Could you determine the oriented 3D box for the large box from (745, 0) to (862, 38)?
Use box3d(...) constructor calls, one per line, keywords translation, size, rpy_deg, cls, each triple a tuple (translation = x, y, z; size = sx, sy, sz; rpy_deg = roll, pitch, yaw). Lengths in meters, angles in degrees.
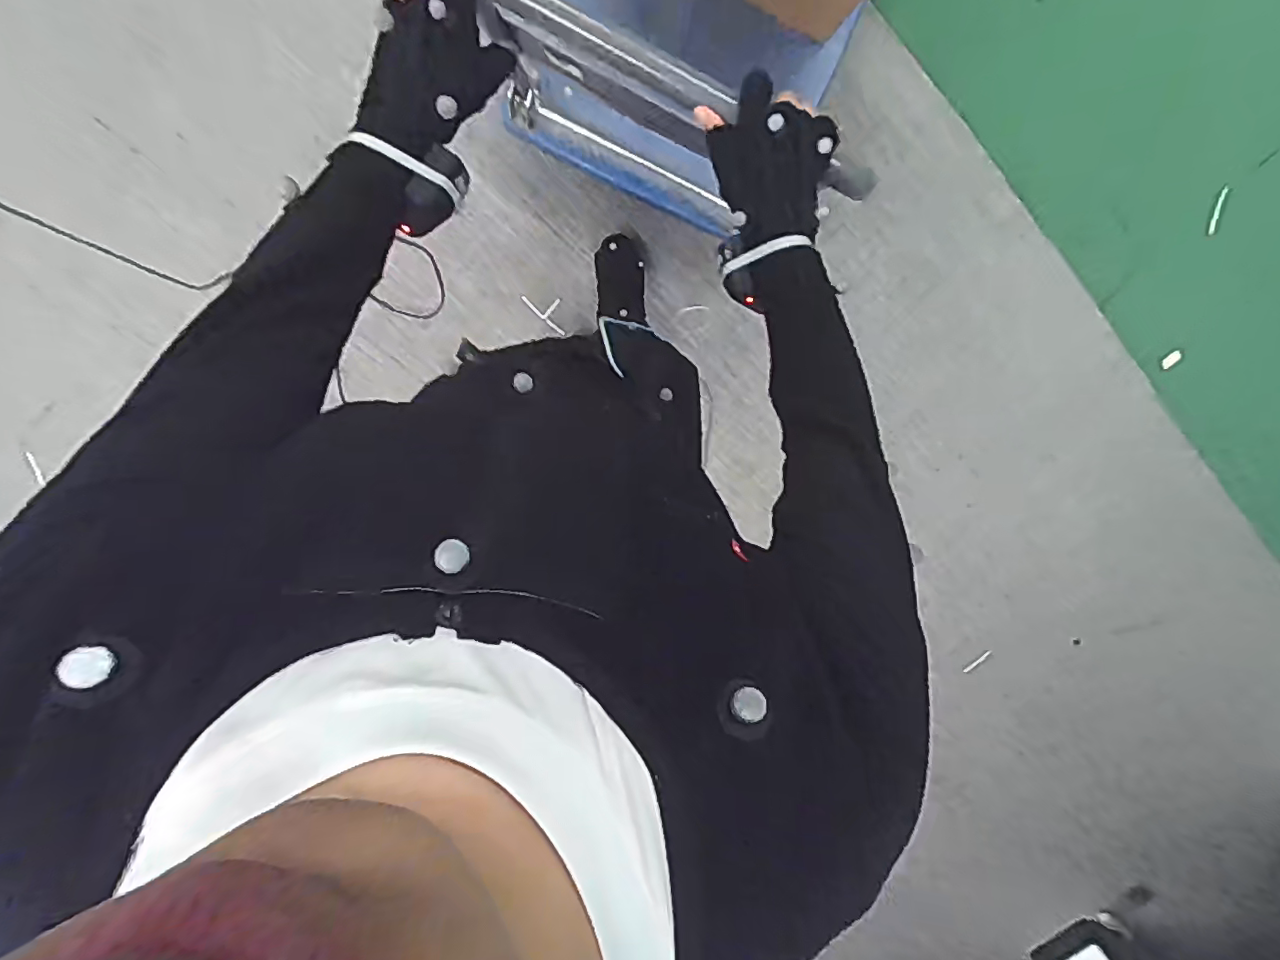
box3d(translation=(0.237, -0.997, 0.836), size=(0.408, 0.320, 0.320), rpy_deg=(20, 107, -8), cls="large box")
